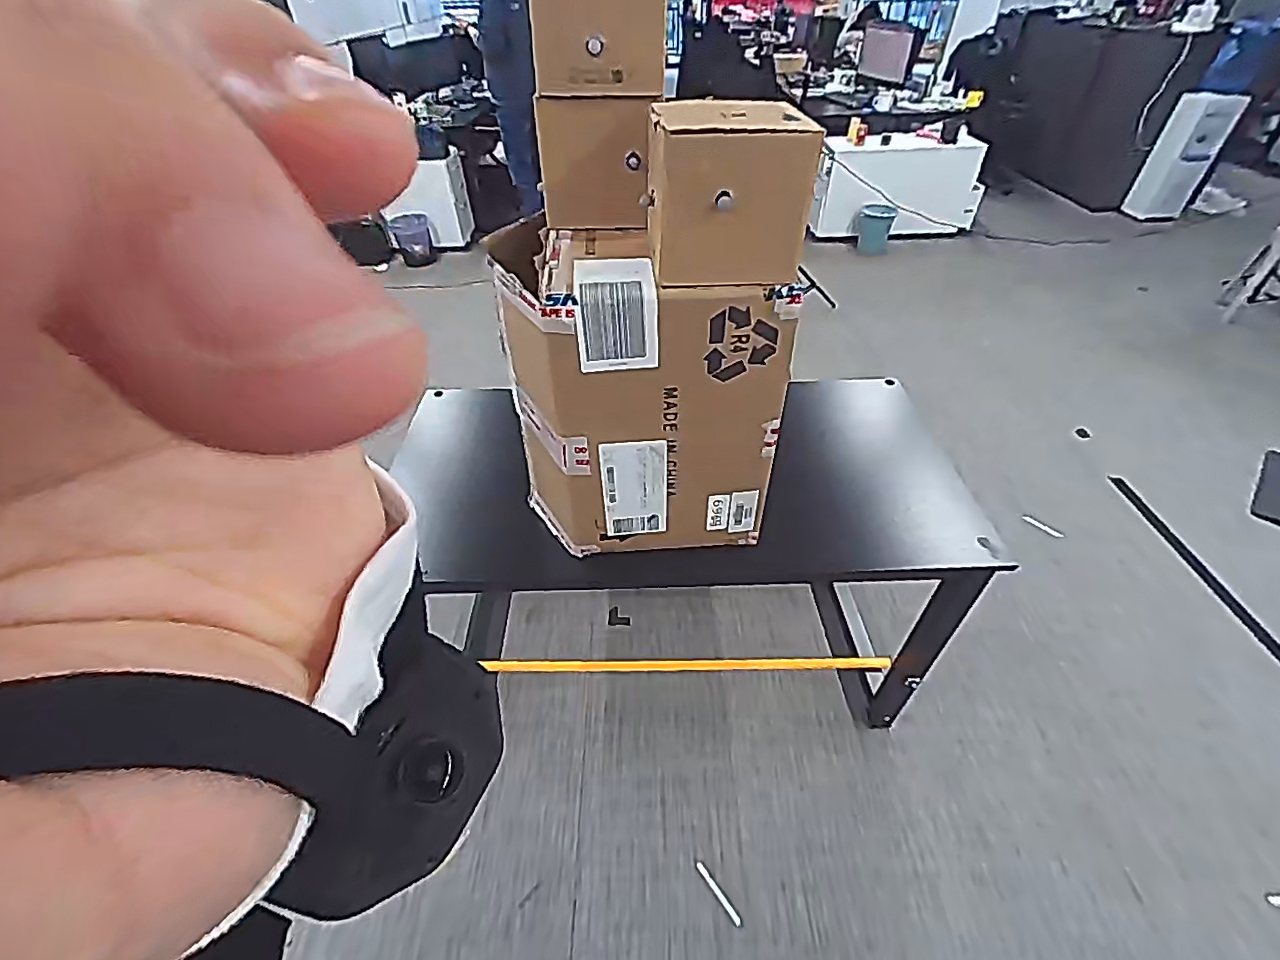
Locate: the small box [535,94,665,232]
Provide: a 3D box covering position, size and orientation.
[{"bbox_3d":[-0.057,-0.491,0.829,0.179,0.176,0.168,-4,40,-2],"label":"small box"}]

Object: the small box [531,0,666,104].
[{"bbox_3d":[-0.055,-0.612,0.717,0.168,0.176,0.179,-2,41,-3],"label":"small box"}]

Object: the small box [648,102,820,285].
[{"bbox_3d":[0.104,-0.359,0.683,0.179,0.176,0.168,-3,45,-2],"label":"small box"}]
